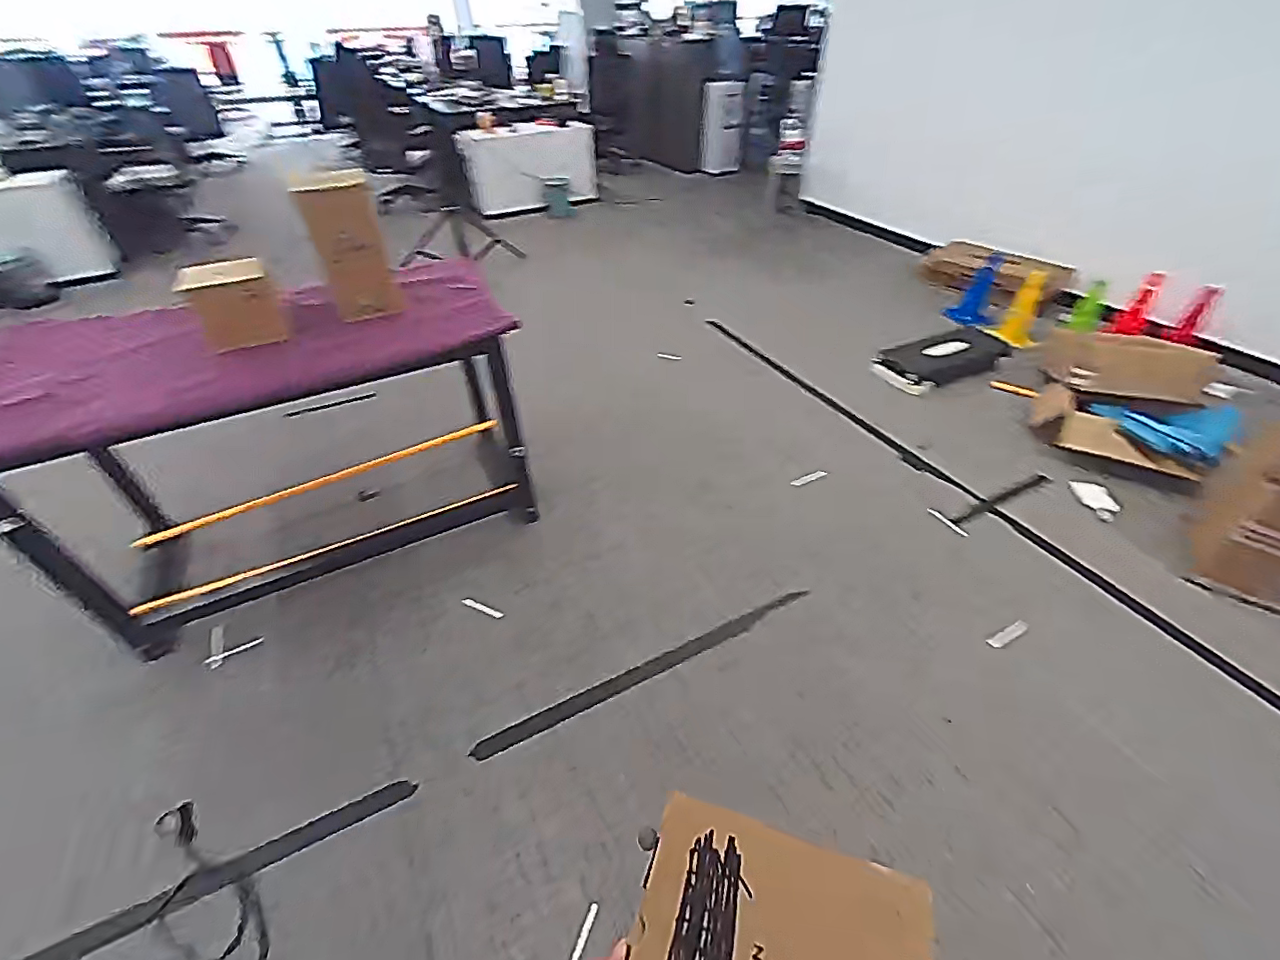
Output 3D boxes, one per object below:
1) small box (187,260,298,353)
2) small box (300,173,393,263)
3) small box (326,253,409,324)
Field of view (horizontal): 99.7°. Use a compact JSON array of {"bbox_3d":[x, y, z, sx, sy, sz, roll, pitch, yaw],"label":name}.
[{"bbox_3d":[-1.017,-0.447,1.398,0.179,0.176,0.168,-19,44,-21],"label":"small box"},{"bbox_3d":[-0.761,-0.683,1.409,0.168,0.176,0.179,-18,44,-17],"label":"small box"},{"bbox_3d":[-0.762,-0.558,1.517,0.168,0.176,0.179,-17,44,-17],"label":"small box"}]
